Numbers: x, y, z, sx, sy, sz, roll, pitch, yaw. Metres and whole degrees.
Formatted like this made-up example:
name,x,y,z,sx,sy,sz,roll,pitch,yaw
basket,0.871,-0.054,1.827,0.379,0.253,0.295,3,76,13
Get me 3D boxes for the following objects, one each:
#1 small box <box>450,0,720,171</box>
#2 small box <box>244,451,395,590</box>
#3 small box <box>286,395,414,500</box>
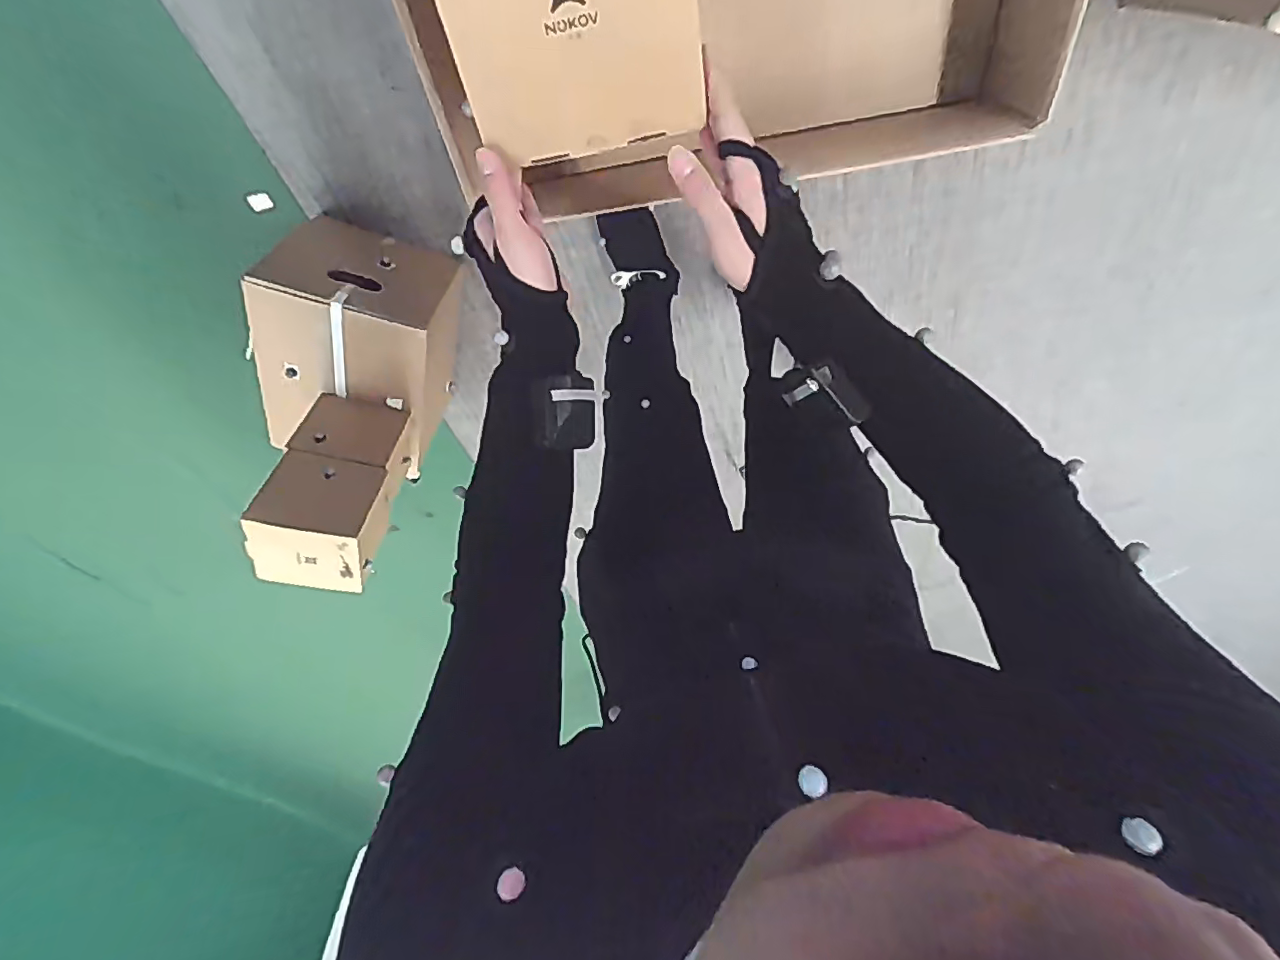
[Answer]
name,x,y,z,sx,sy,sz,roll,pitch,yaw
small box,-0.038,-0.358,0.394,0.168,0.176,0.179,-8,135,7
small box,-0.559,0.070,0.968,0.179,0.176,0.168,13,133,-13
small box,-0.570,-0.048,1.082,0.179,0.176,0.168,12,134,-14
